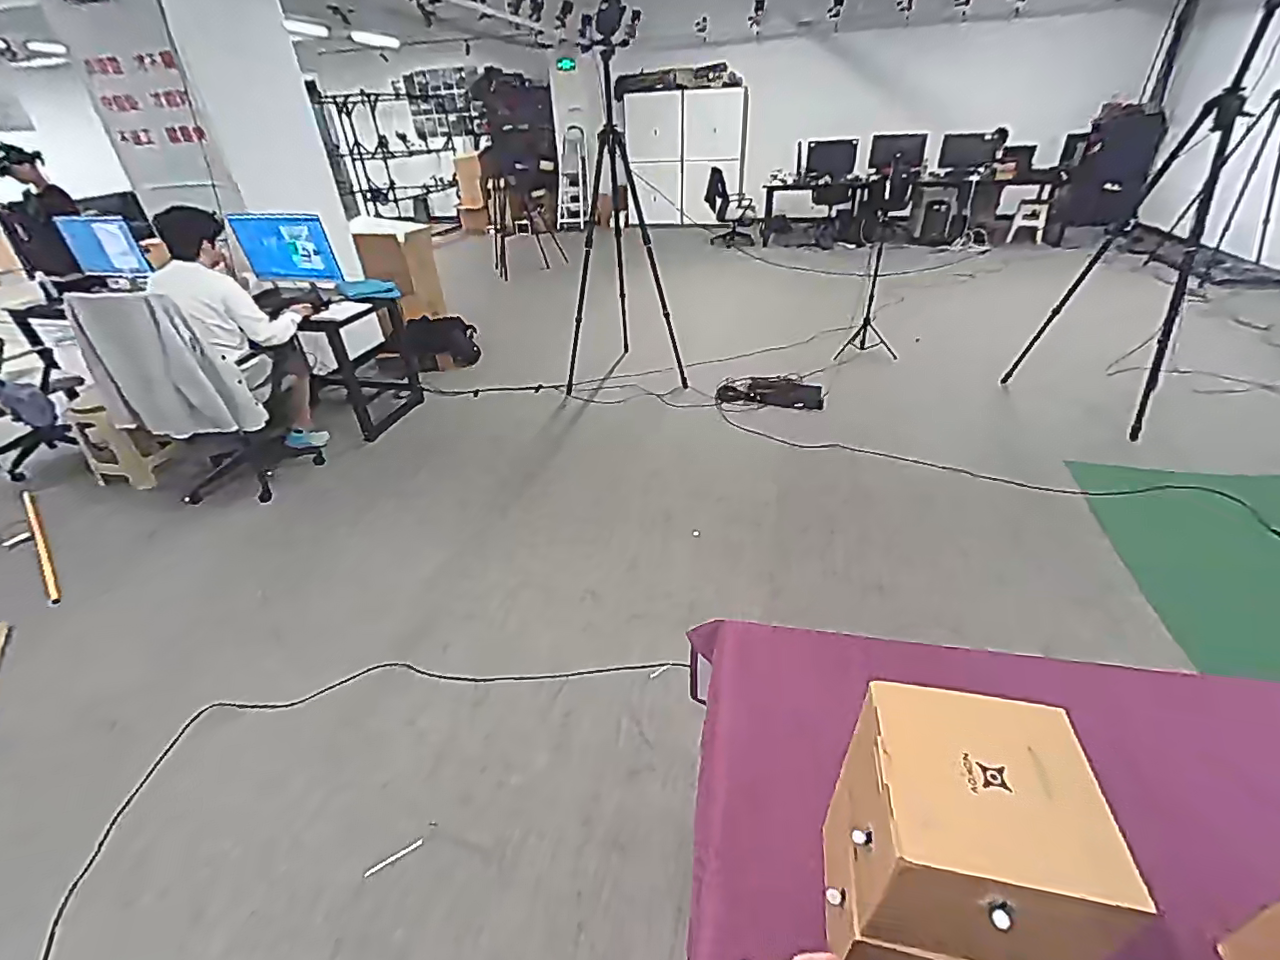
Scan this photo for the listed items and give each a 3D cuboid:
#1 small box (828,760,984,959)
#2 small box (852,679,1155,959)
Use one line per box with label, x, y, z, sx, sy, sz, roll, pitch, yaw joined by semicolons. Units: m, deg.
small box;0.307;0.453;0.598;0.168;0.176;0.179;6;35;13
small box;0.303;0.318;0.507;0.179;0.176;0.168;5;36;12
